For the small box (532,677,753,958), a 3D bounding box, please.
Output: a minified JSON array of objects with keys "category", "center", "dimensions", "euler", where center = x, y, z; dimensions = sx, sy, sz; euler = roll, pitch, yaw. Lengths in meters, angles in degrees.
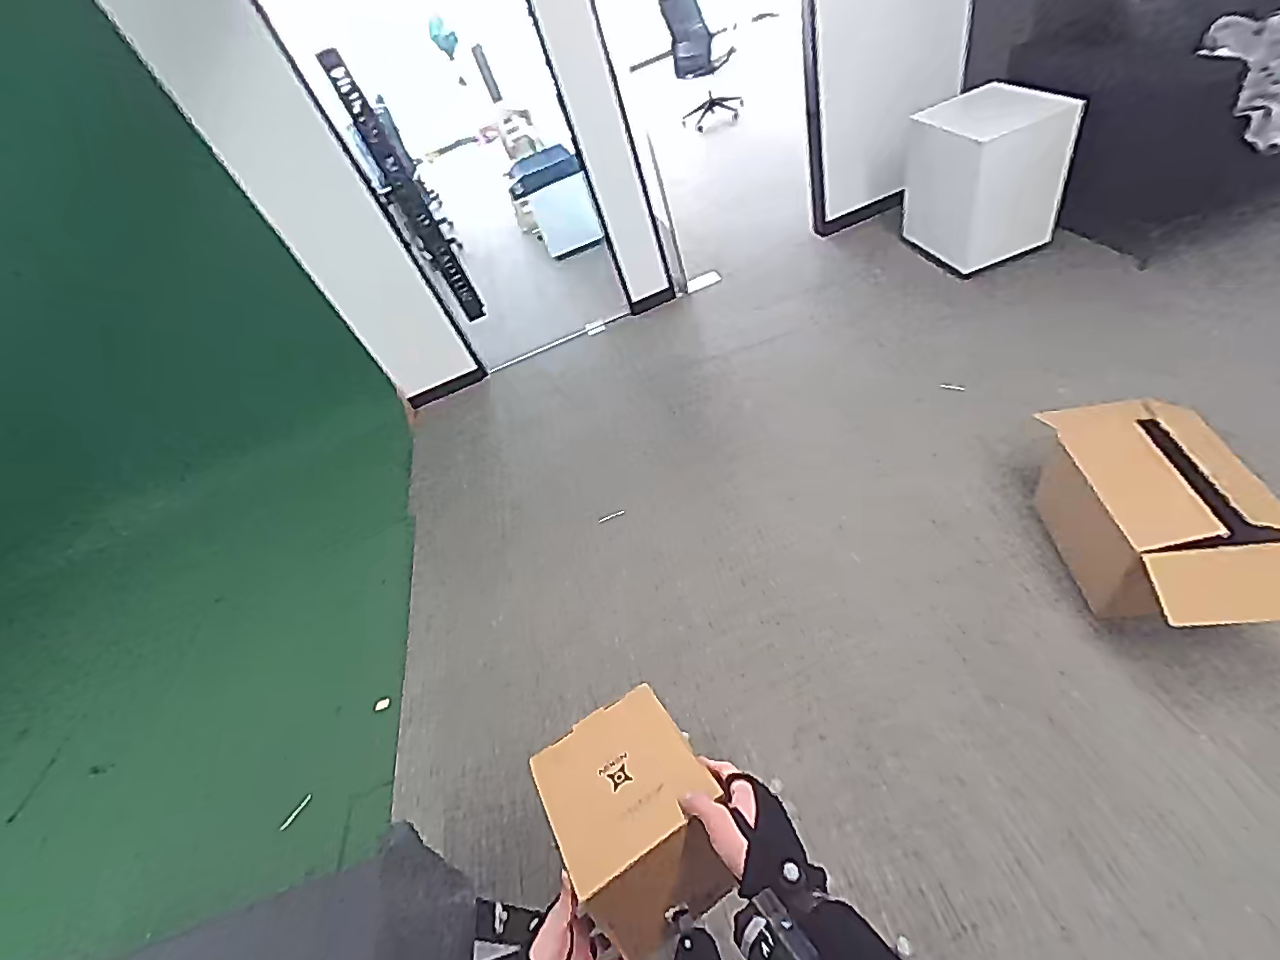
[{"category":"small box","center":[0.002,0.373,0.613],"dimensions":[0.168,0.176,0.179],"euler":[-29,29,-14]}]
